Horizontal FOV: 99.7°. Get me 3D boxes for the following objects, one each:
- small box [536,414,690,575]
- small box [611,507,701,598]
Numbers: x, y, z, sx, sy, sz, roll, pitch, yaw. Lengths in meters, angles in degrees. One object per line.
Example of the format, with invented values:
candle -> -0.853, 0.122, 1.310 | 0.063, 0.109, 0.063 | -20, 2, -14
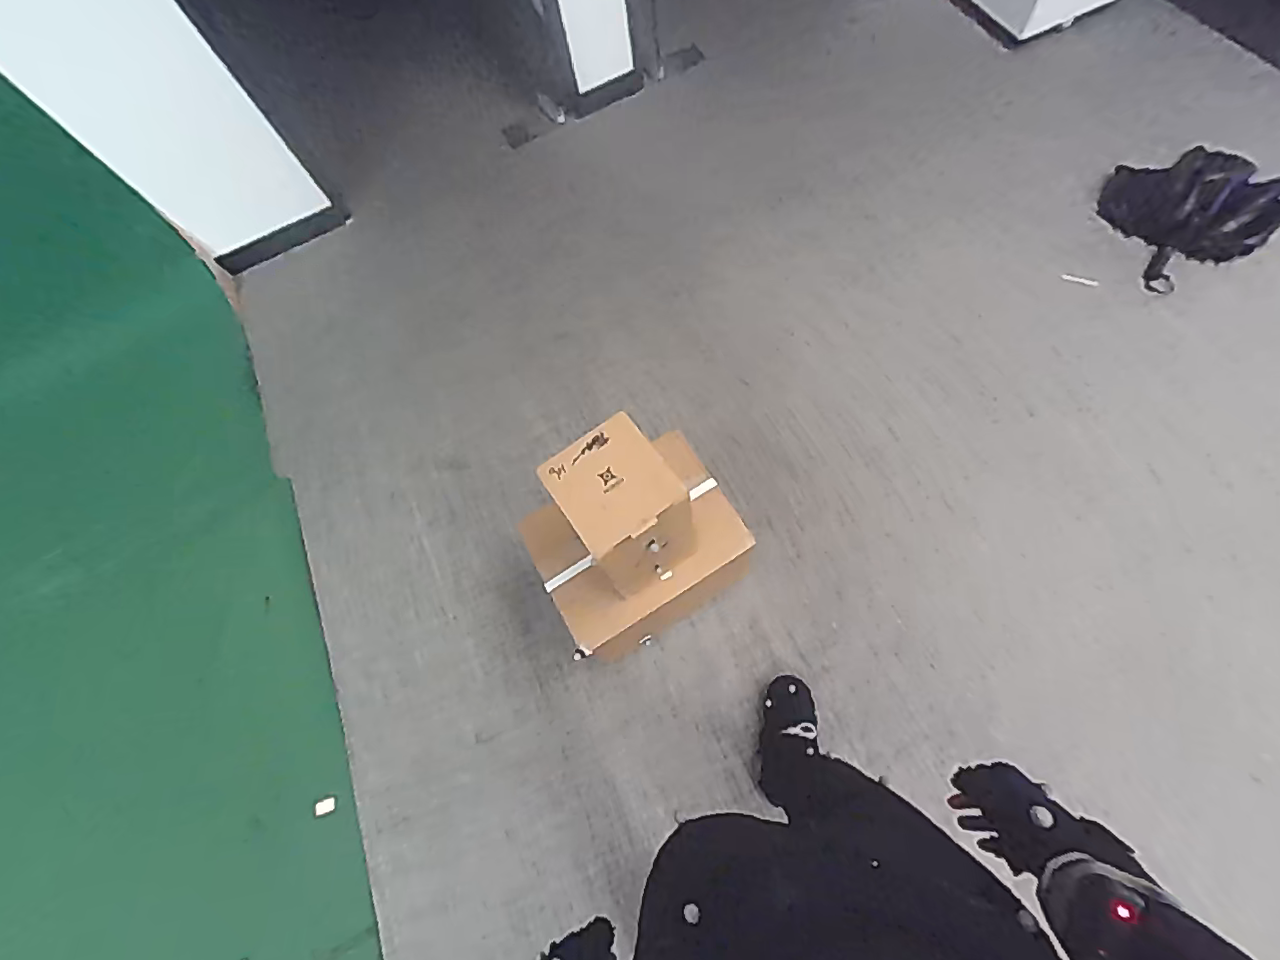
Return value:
small box -> -0.033, 0.034, 0.859 | 0.168, 0.176, 0.179 | -35, 69, -6
small box -> -0.005, 0.095, 1.008 | 0.179, 0.176, 0.168 | -36, 68, -8
